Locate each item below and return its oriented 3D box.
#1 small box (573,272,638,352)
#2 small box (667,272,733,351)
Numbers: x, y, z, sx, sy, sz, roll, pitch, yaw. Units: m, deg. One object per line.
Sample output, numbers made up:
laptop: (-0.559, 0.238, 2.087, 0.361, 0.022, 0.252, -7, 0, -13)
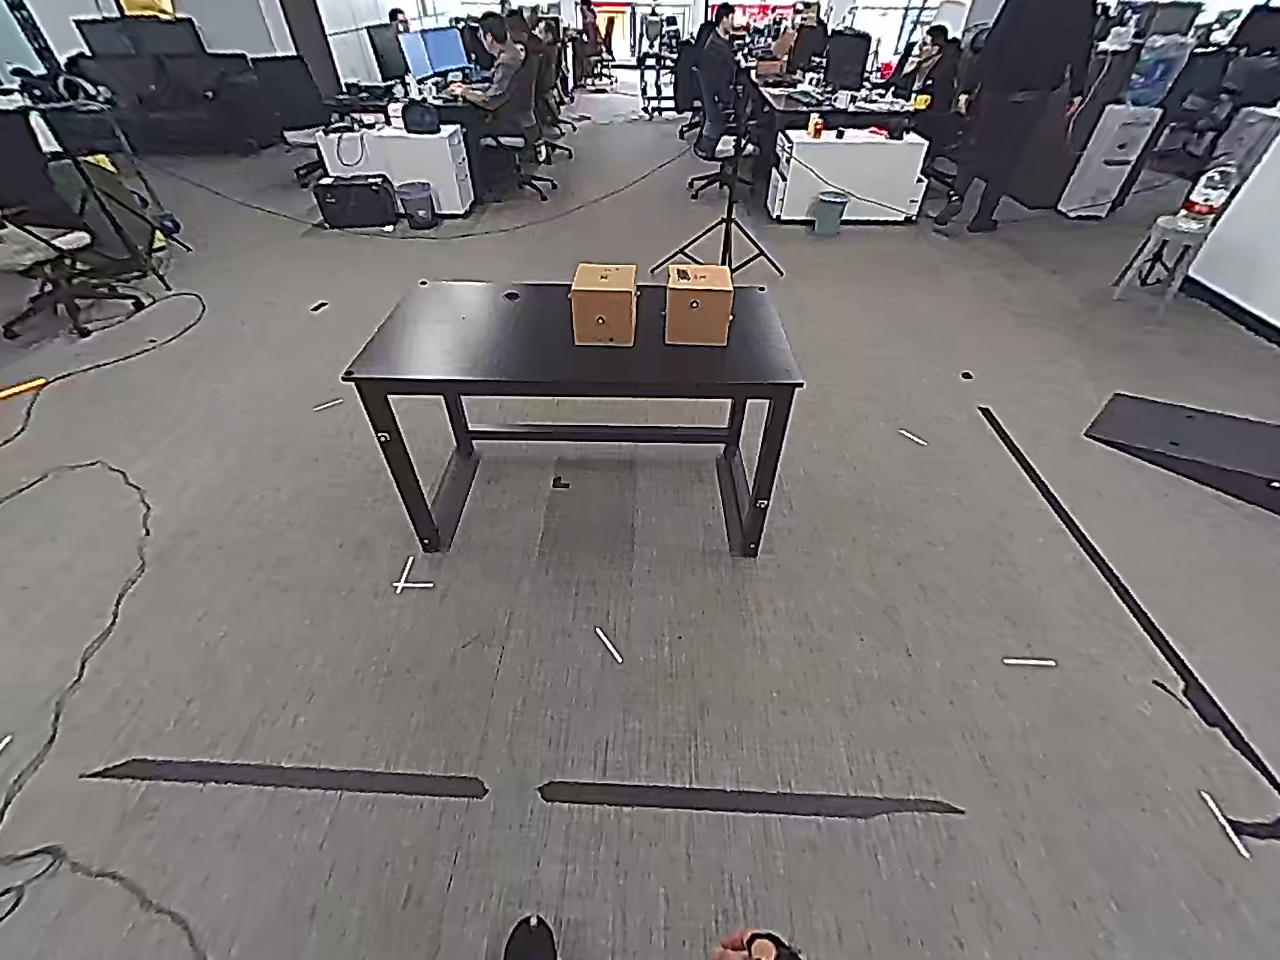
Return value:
small box: (-0.094, -0.484, 1.559, 0.168, 0.176, 0.179, 2, 43, 2)
small box: (0.167, -0.485, 1.561, 0.179, 0.176, 0.168, 3, 42, 2)
